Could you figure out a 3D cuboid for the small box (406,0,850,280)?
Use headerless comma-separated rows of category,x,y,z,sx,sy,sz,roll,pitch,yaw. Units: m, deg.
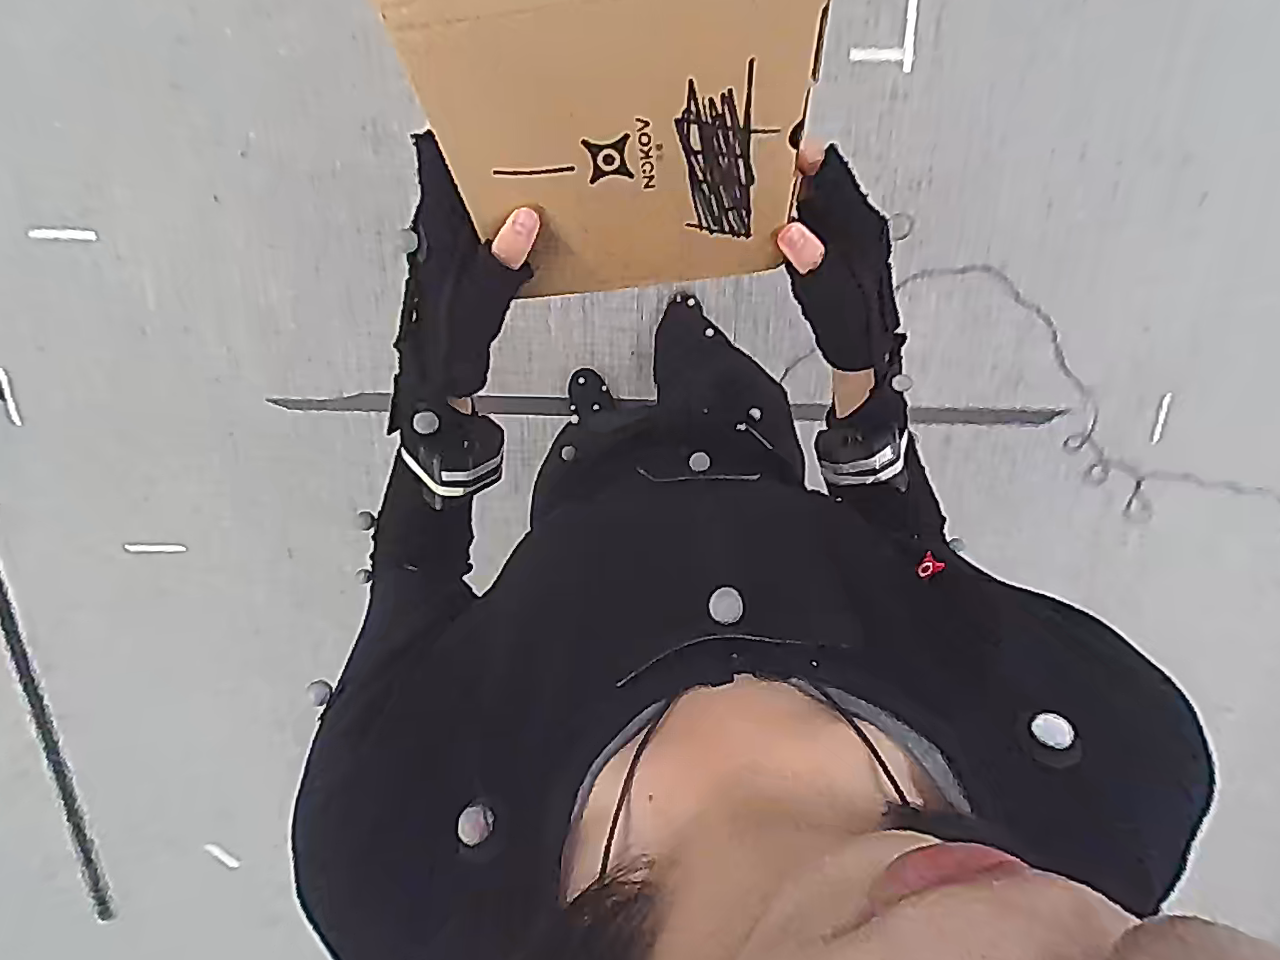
small box,-0.002,-0.237,0.291,0.179,0.168,0.176,-3,64,4
